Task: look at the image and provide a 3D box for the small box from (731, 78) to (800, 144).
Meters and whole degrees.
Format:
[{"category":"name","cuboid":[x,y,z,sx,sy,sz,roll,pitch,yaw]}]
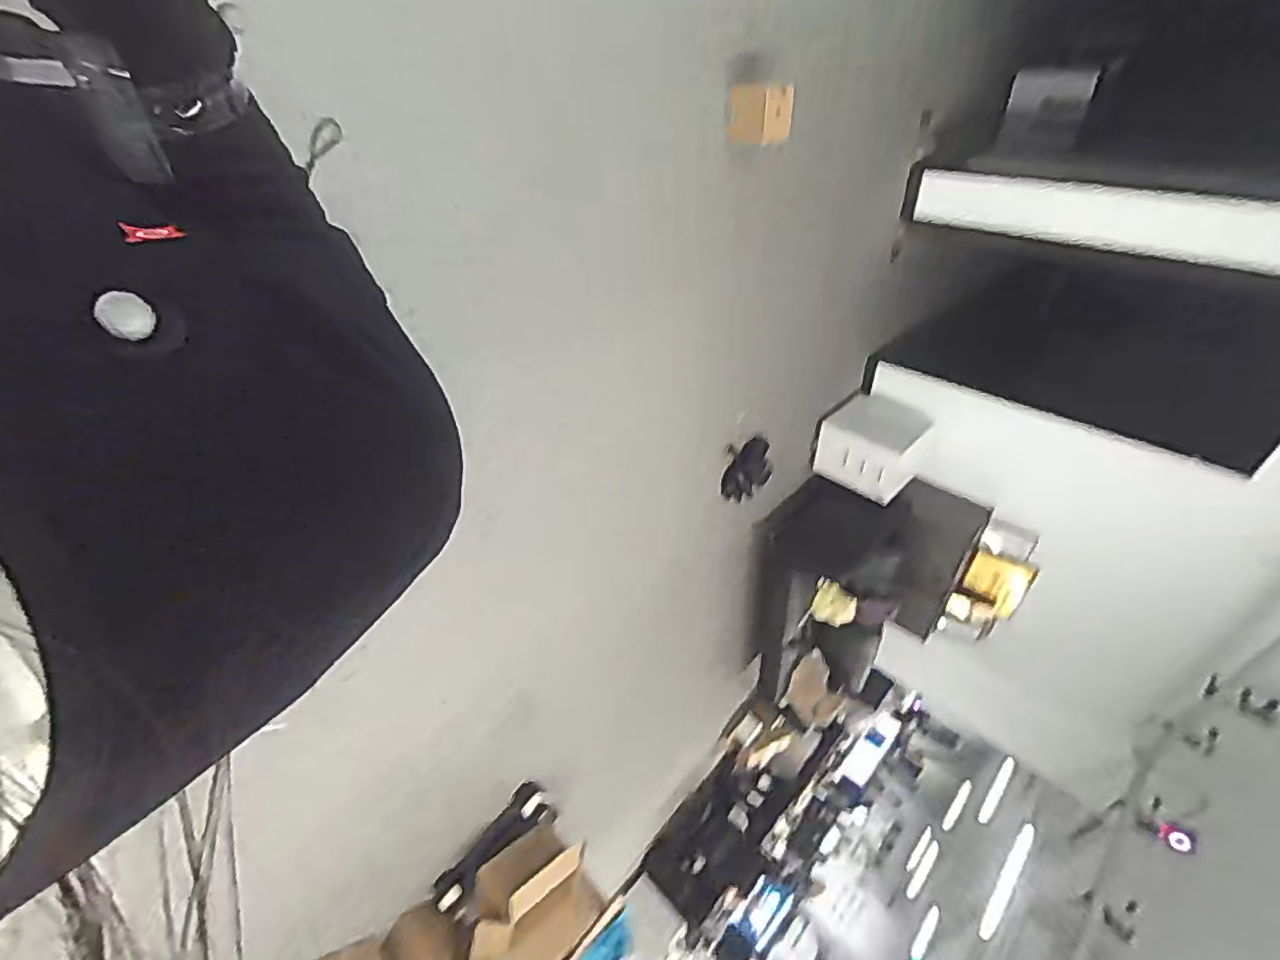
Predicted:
[{"category":"small box","cuboid":[0.436,-1.305,1.908,0.168,0.176,0.179,-32,137,-31]}]
